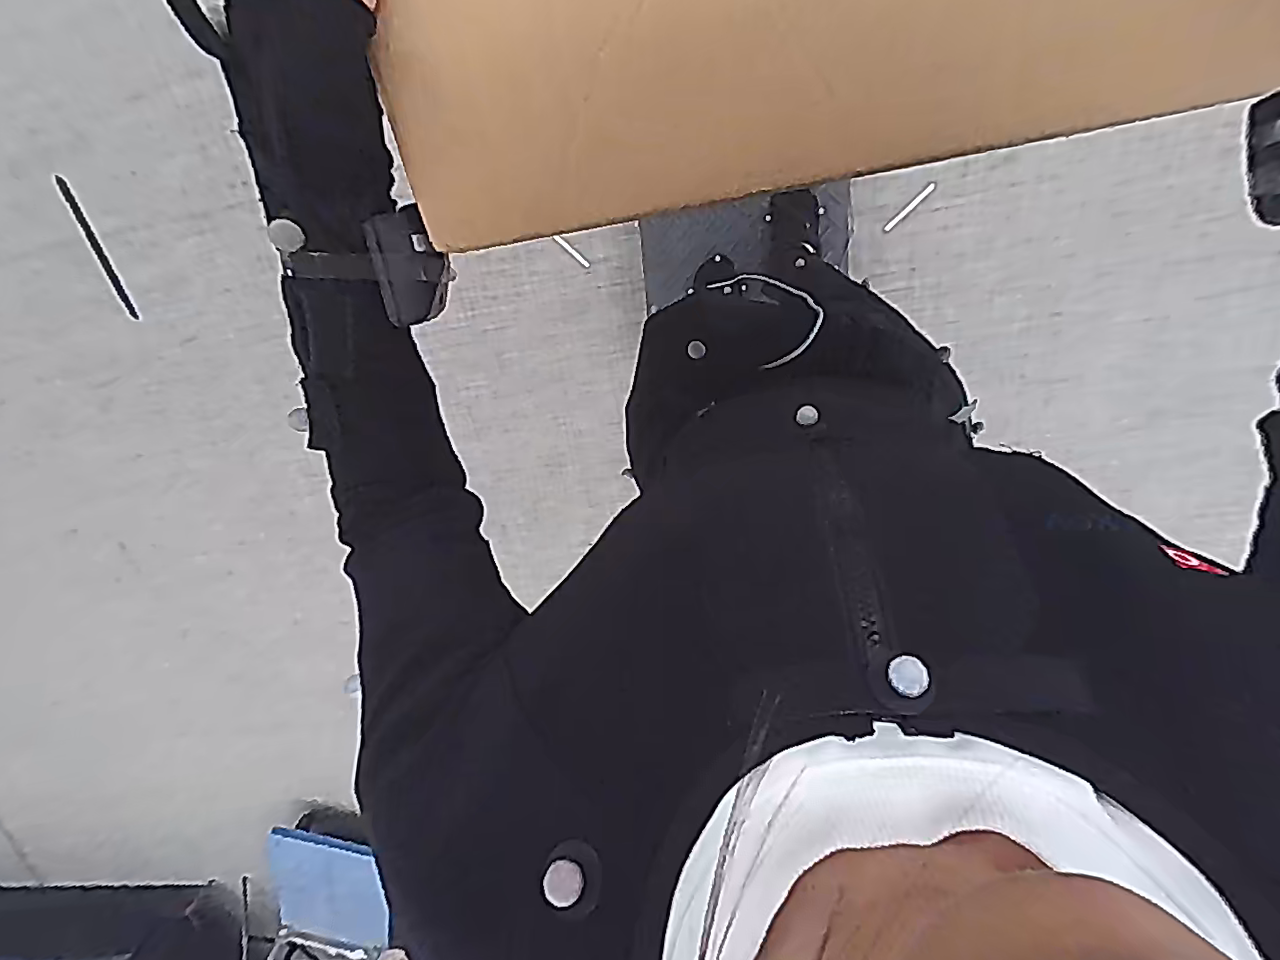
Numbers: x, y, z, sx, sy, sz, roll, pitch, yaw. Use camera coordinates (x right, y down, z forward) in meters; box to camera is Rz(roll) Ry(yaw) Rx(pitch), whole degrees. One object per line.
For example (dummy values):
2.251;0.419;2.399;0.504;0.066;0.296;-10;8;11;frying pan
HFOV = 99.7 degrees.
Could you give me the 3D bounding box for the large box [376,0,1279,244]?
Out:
0.071;-0.363;0.339;0.408;0.320;0.320;-7;118;10;large box
